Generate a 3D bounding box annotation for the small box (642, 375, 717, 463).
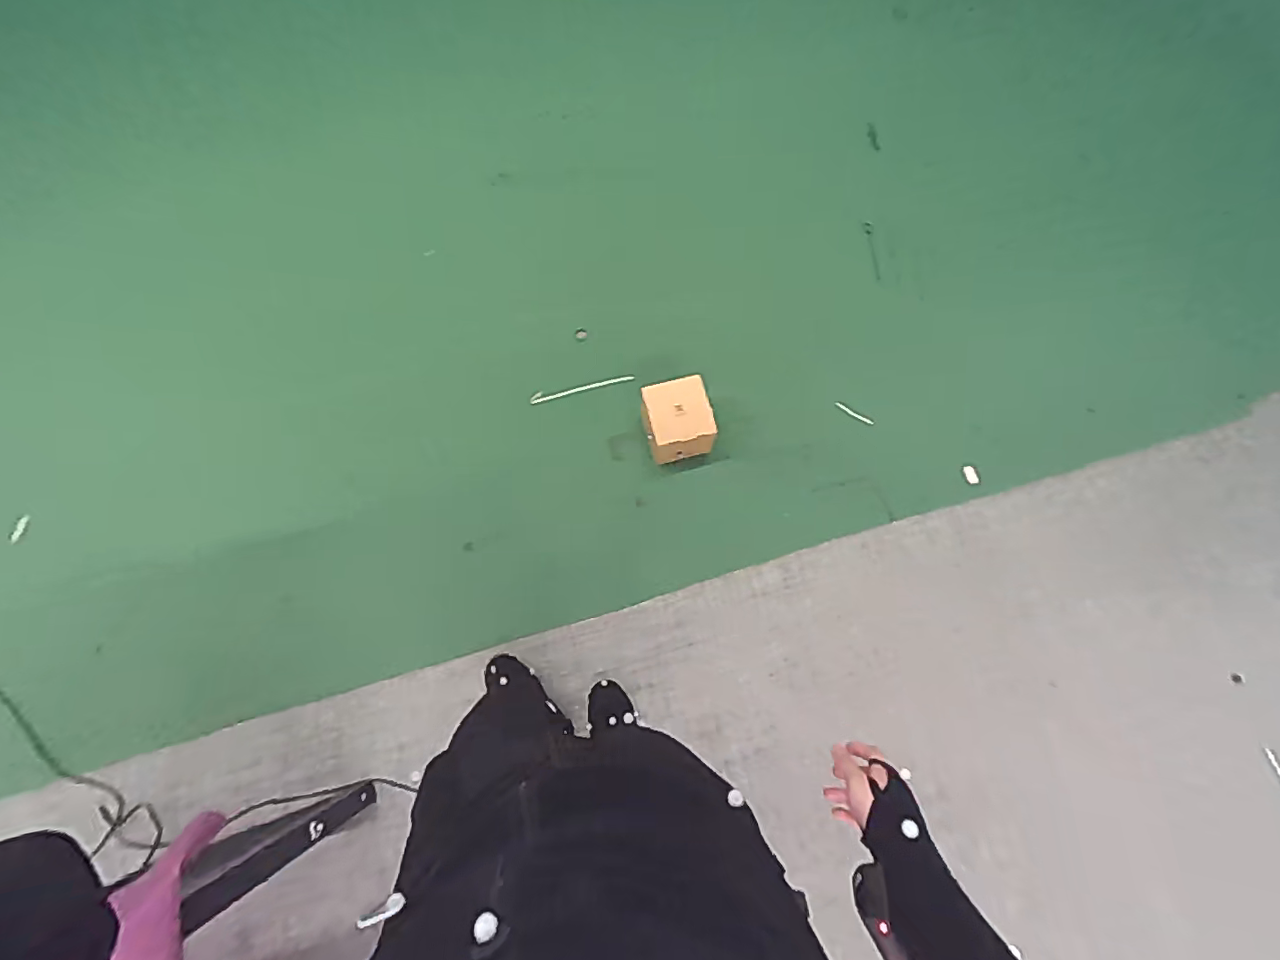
[{"bbox_3d":[0.103,-0.167,1.524,0.168,0.176,0.179,-14,77,-5],"label":"small box"}]
